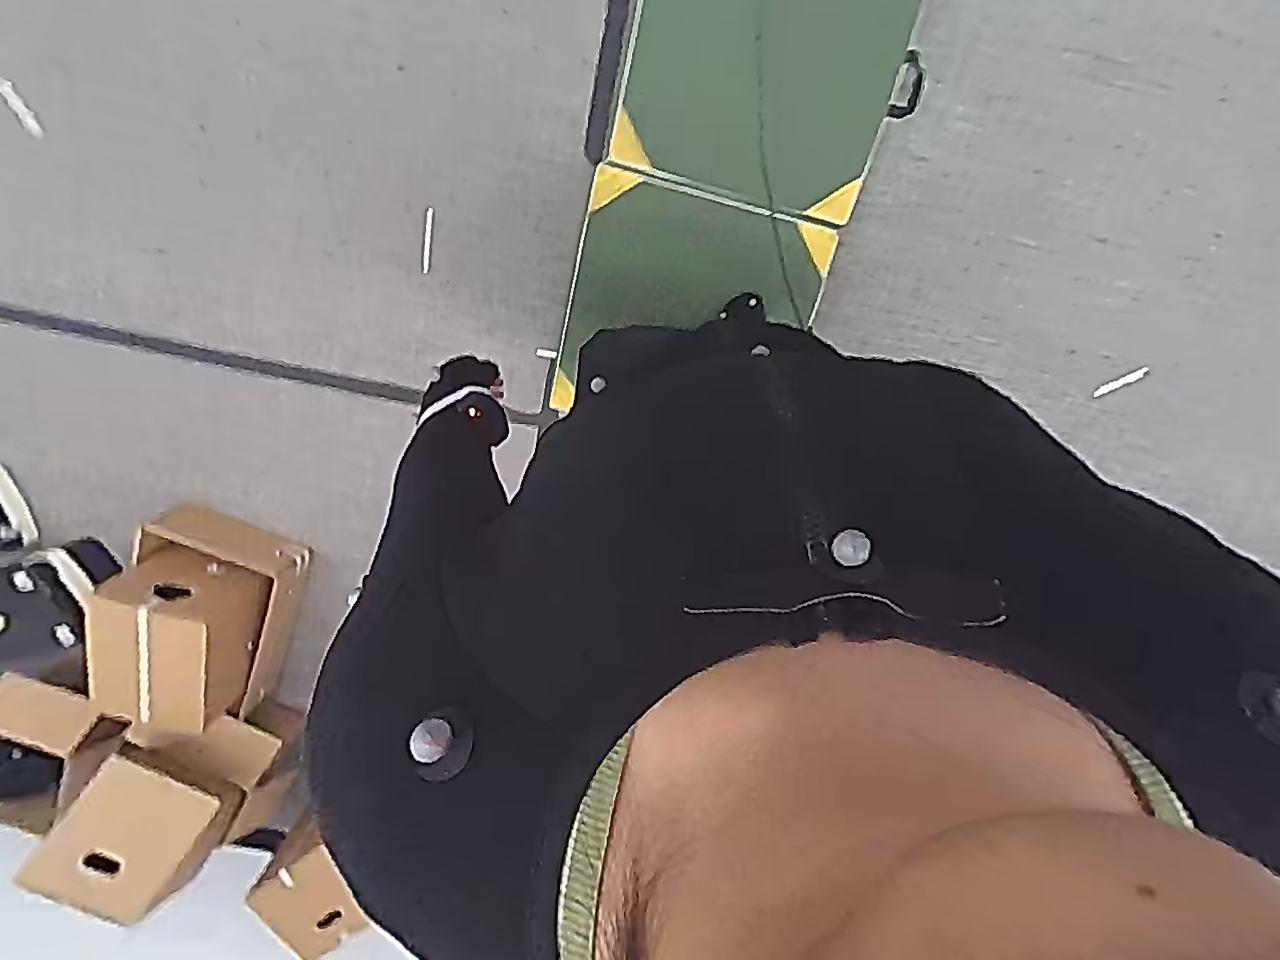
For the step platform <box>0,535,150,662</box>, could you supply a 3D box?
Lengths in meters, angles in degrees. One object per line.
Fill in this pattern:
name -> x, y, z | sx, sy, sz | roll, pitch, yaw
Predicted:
step platform -> -1.999, 0.409, 1.734 | 0.684, 0.204, 0.286 | -16, 109, 7
